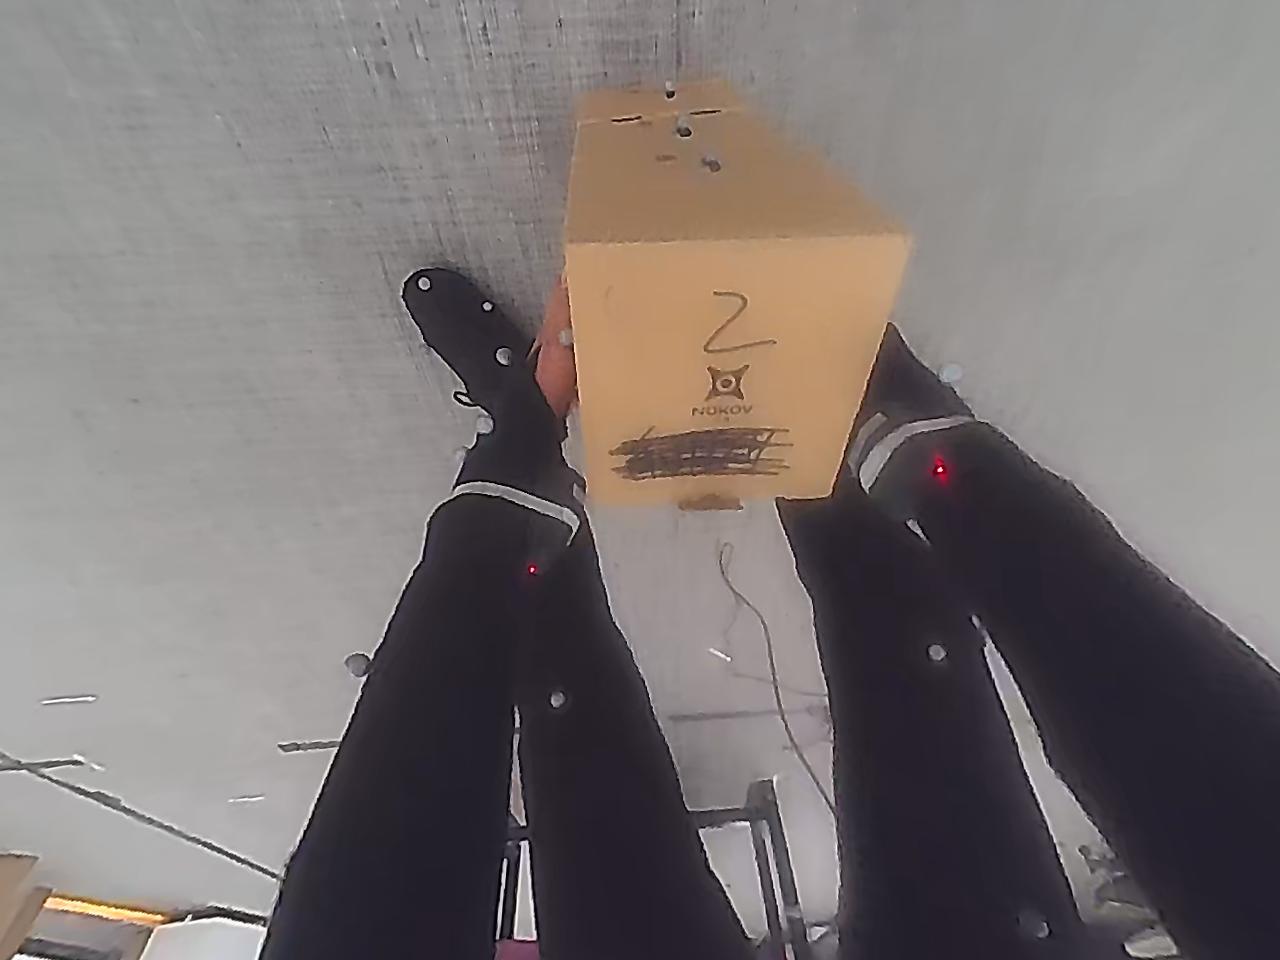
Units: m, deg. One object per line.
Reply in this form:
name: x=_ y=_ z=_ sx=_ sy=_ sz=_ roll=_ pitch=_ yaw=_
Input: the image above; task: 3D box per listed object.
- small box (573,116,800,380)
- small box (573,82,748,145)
small box: x=0.031 y=-0.215 z=0.490 sx=0.168 sy=0.176 sz=0.179 roll=-5 pitch=133 yaw=0
small box: x=0.021 y=-0.327 z=0.612 sx=0.168 sy=0.176 sz=0.179 roll=-5 pitch=132 yaw=1
